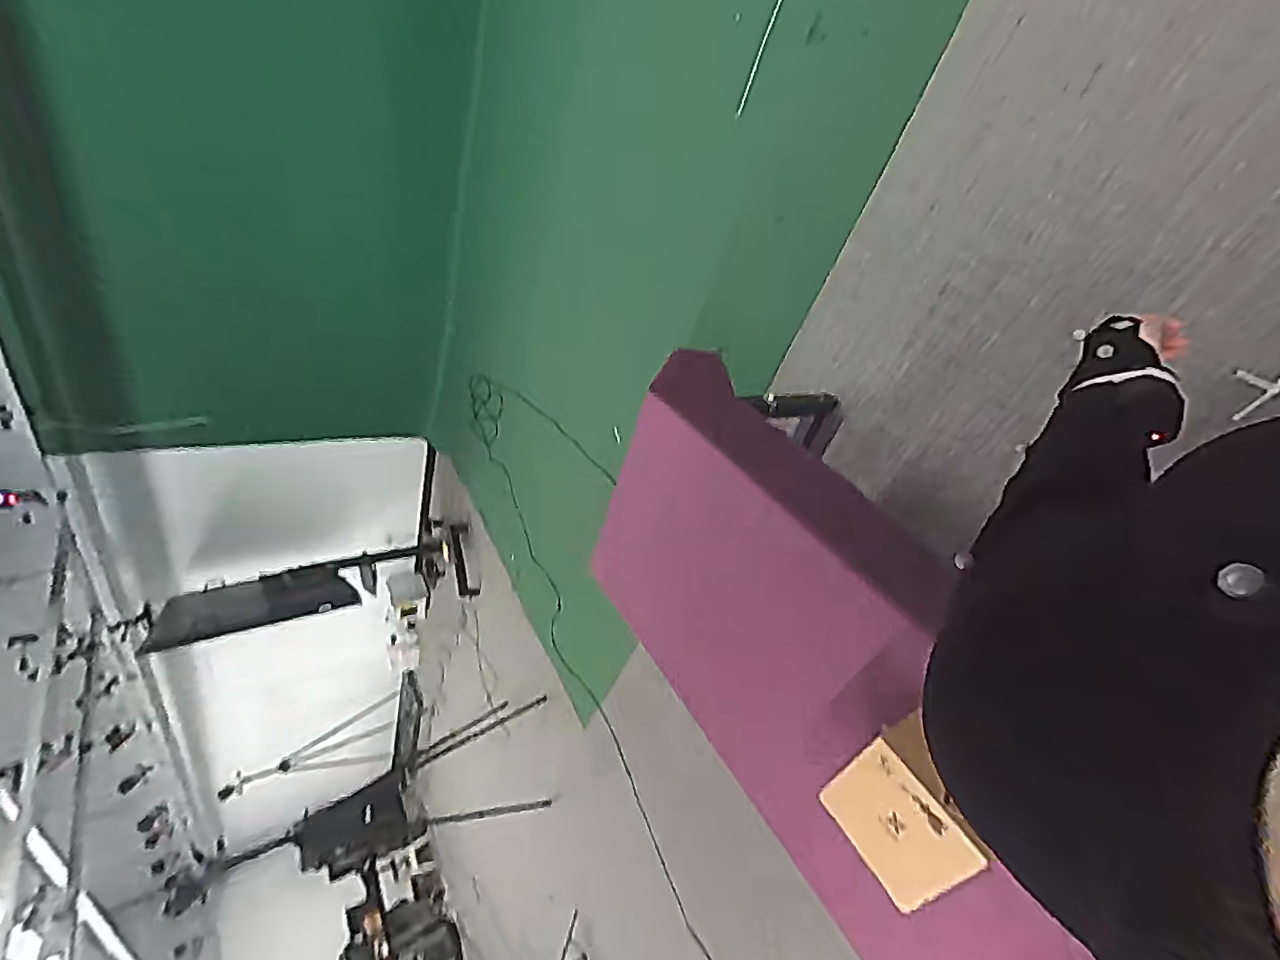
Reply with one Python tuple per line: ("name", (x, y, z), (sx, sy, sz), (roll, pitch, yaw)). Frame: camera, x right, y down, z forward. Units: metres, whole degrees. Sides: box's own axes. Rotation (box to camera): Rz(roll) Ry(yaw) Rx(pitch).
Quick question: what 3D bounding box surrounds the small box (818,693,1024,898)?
("small box", (0.401, 0.444, 0.778), (0.168, 0.176, 0.179), (50, 134, 35))
